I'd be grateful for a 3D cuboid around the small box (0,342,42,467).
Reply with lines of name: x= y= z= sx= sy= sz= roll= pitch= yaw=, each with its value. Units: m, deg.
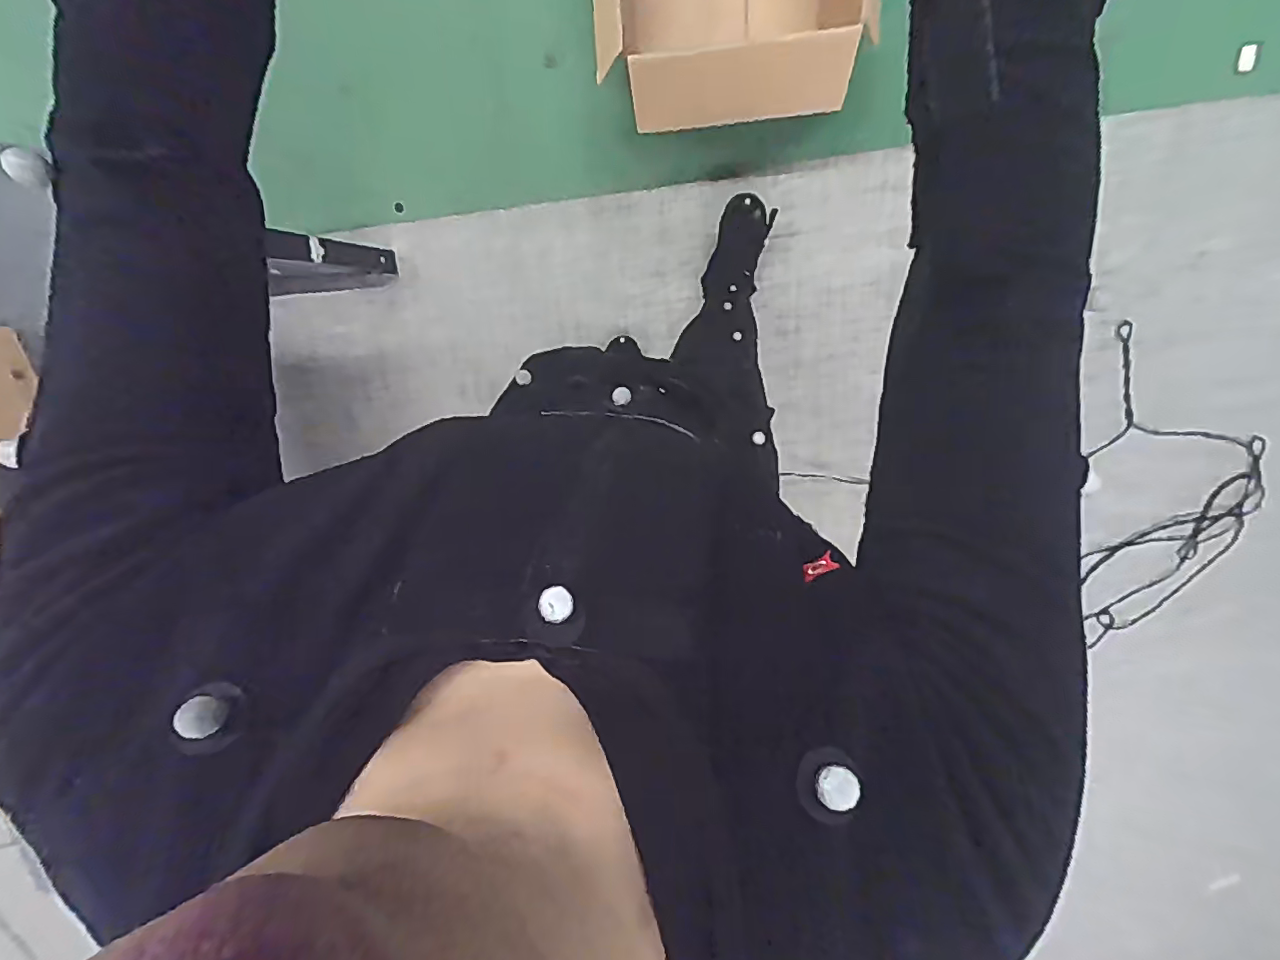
small box: x=-0.910 y=-0.081 z=0.663 sx=0.179 sy=0.176 sz=0.168 roll=-6 pitch=107 yaw=7
